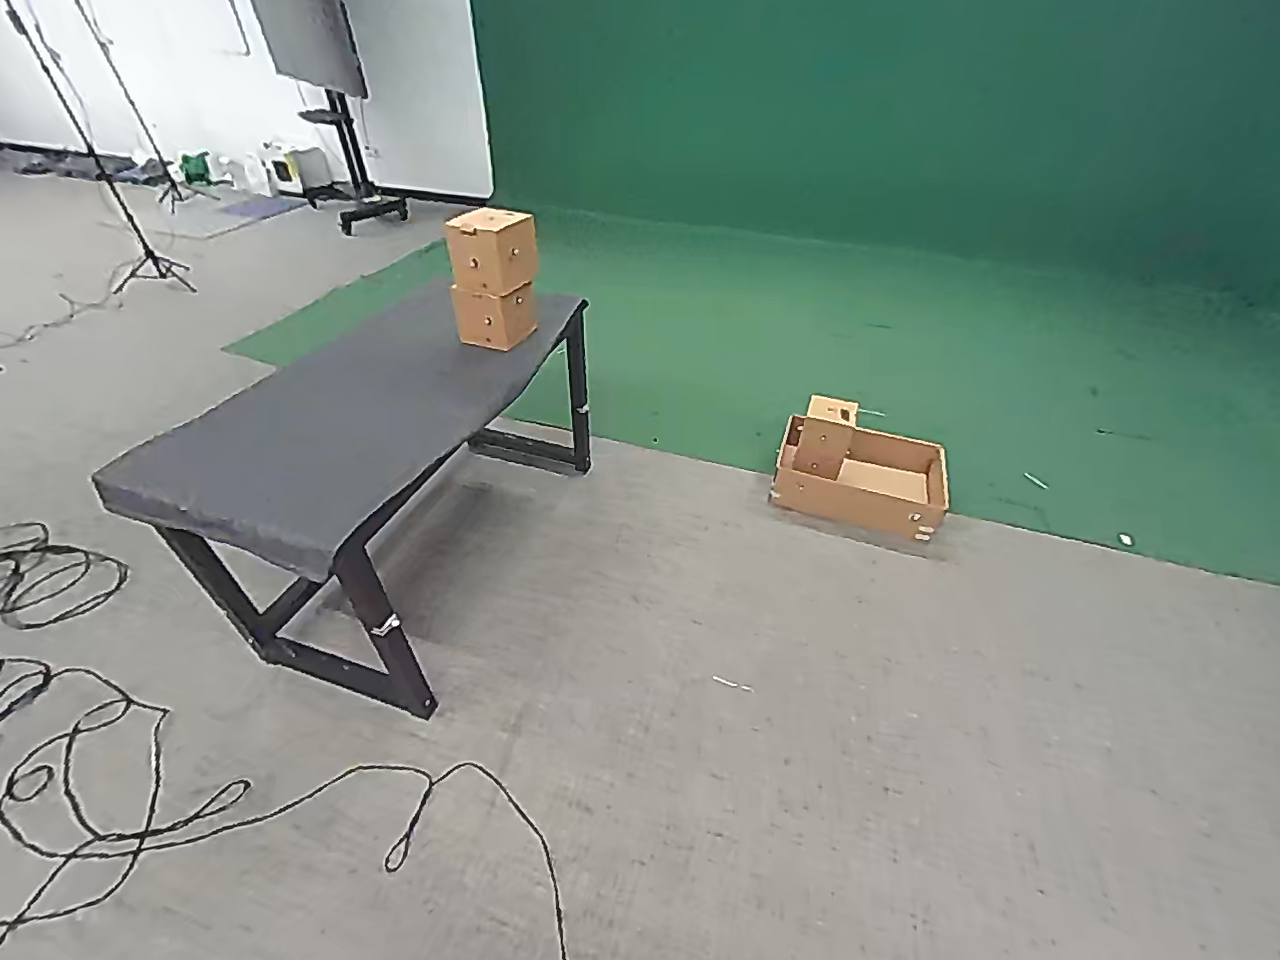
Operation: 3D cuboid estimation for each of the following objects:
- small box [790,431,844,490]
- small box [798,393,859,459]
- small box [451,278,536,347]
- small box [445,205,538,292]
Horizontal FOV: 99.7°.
[{"bbox_3d":[0.714,-0.083,2.172,0.179,0.176,0.168,15,44,13],"label":"small box"},{"bbox_3d":[0.718,-0.203,2.060,0.179,0.176,0.168,15,43,15],"label":"small box"},{"bbox_3d":[-0.419,-0.508,1.586,0.168,0.176,0.179,16,42,15],"label":"small box"},{"bbox_3d":[-0.396,-0.635,1.483,0.168,0.176,0.179,18,44,18],"label":"small box"}]
